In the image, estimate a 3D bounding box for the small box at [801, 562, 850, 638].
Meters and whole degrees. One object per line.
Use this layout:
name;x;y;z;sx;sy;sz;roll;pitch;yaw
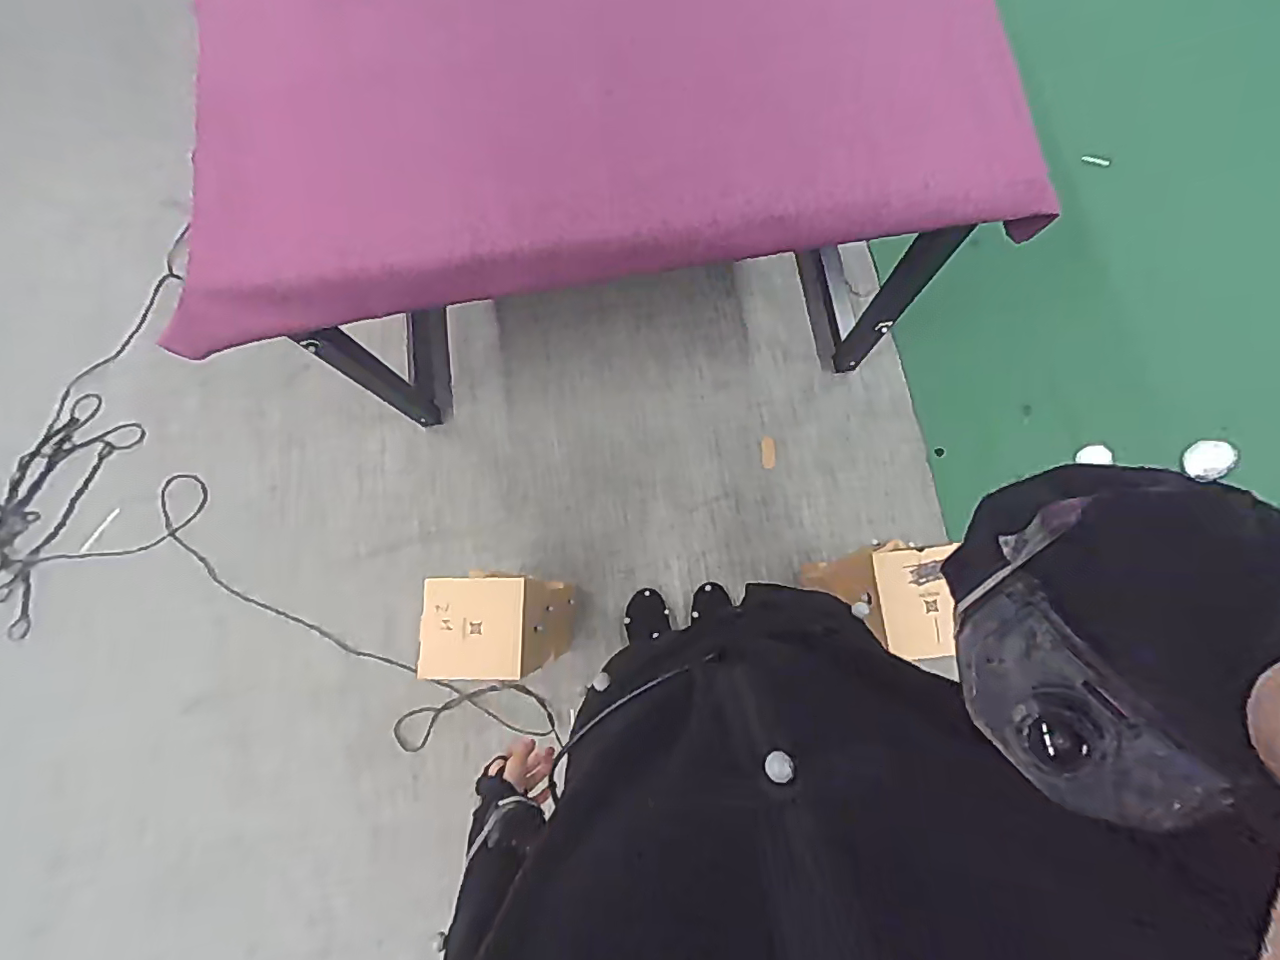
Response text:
small box;0.480;0.283;1.269;0.179;0.176;0.168;2;79;3

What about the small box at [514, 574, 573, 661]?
small box;-0.261;0.322;1.294;0.168;0.176;0.179;7;80;4

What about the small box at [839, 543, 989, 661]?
small box;0.465;0.210;0.948;0.168;0.176;0.179;-6;79;1

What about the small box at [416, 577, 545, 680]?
small box;-0.275;0.260;0.974;0.179;0.176;0.168;0;77;4

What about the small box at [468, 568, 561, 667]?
small box;-0.276;0.293;1.136;0.168;0.176;0.179;13;79;6
